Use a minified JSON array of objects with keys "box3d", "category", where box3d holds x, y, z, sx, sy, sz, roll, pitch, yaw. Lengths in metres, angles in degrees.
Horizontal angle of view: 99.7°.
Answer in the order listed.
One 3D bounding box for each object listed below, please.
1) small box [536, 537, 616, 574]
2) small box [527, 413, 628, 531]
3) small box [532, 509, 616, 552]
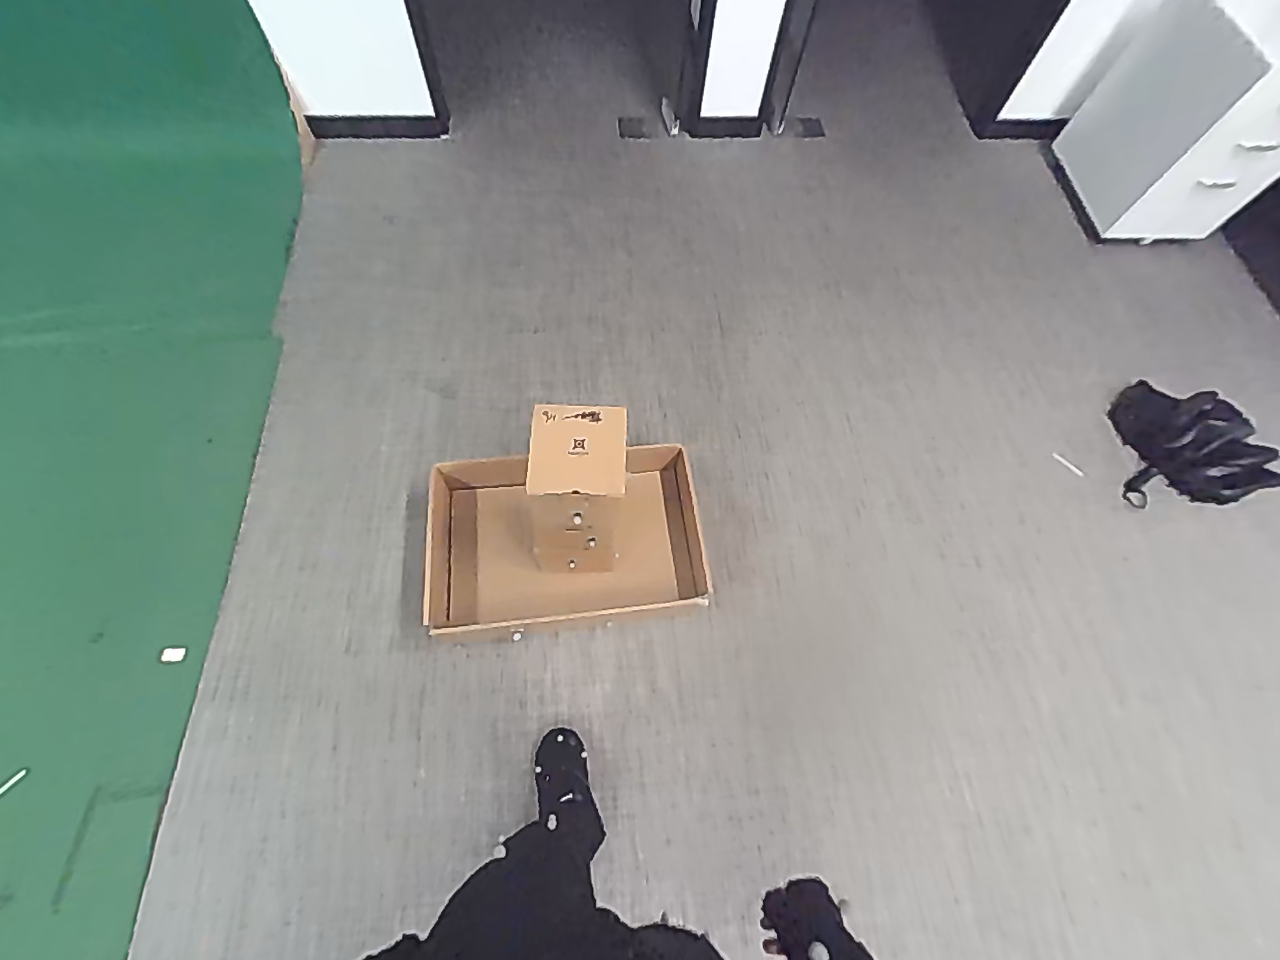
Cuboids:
[{"box3d":[-0.147,0.125,1.311,0.179,0.176,0.168,0,64,-1],"category":"small box"},{"box3d":[-0.109,-0.009,1.021,0.168,0.176,0.179,0,65,1],"category":"small box"},{"box3d":[-0.131,0.047,1.152,0.168,0.176,0.179,2,64,-3],"category":"small box"}]
